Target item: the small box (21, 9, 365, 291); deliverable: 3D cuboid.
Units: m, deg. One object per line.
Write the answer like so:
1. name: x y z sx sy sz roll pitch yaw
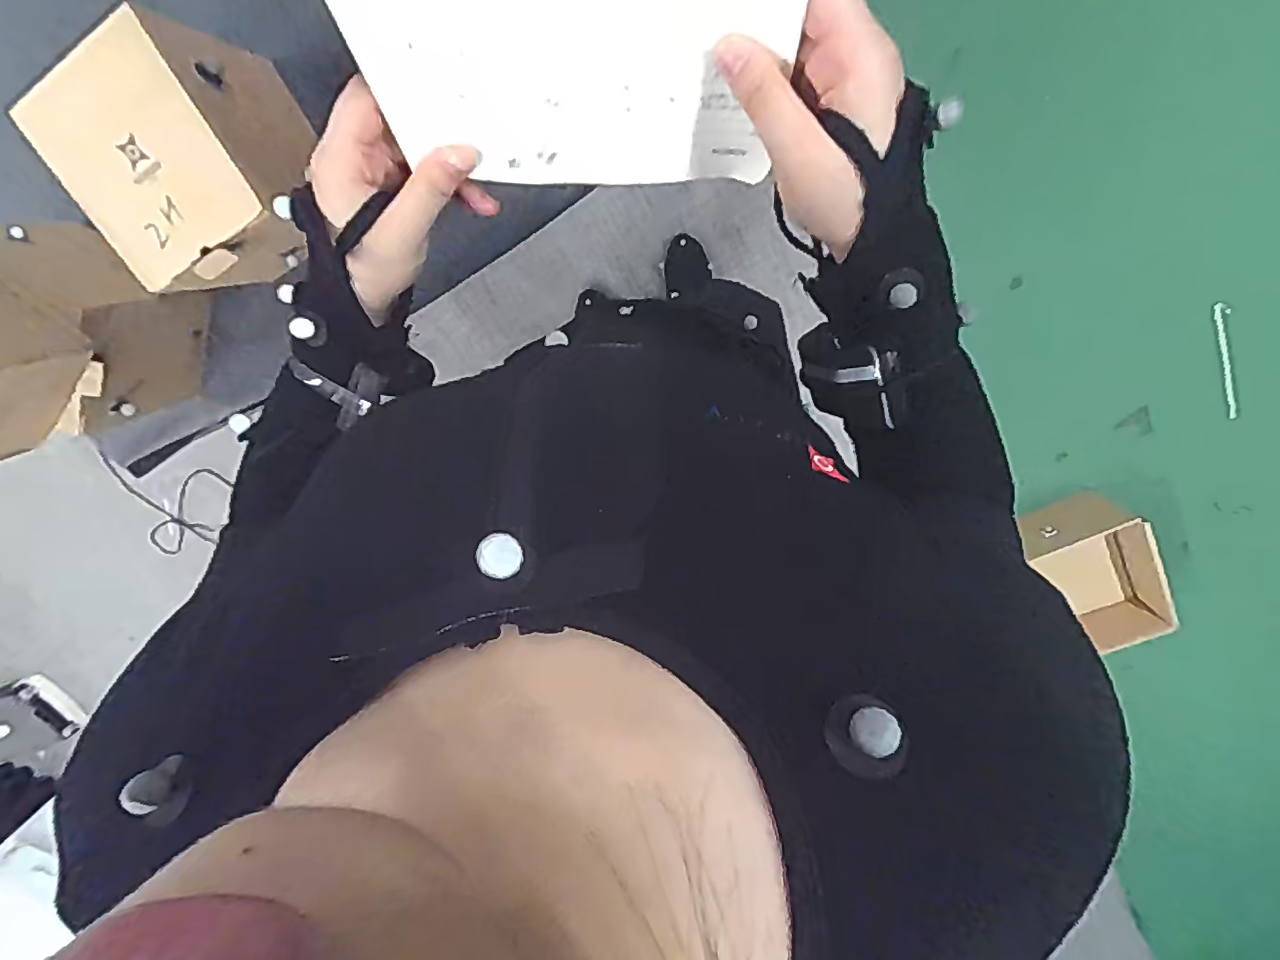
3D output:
1. small box: -0.438 -0.320 0.564 0.168 0.176 0.179 -23 110 16

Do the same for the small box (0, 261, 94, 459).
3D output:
1. small box: -0.684 -0.110 0.505 0.179 0.176 0.168 -40 105 22
